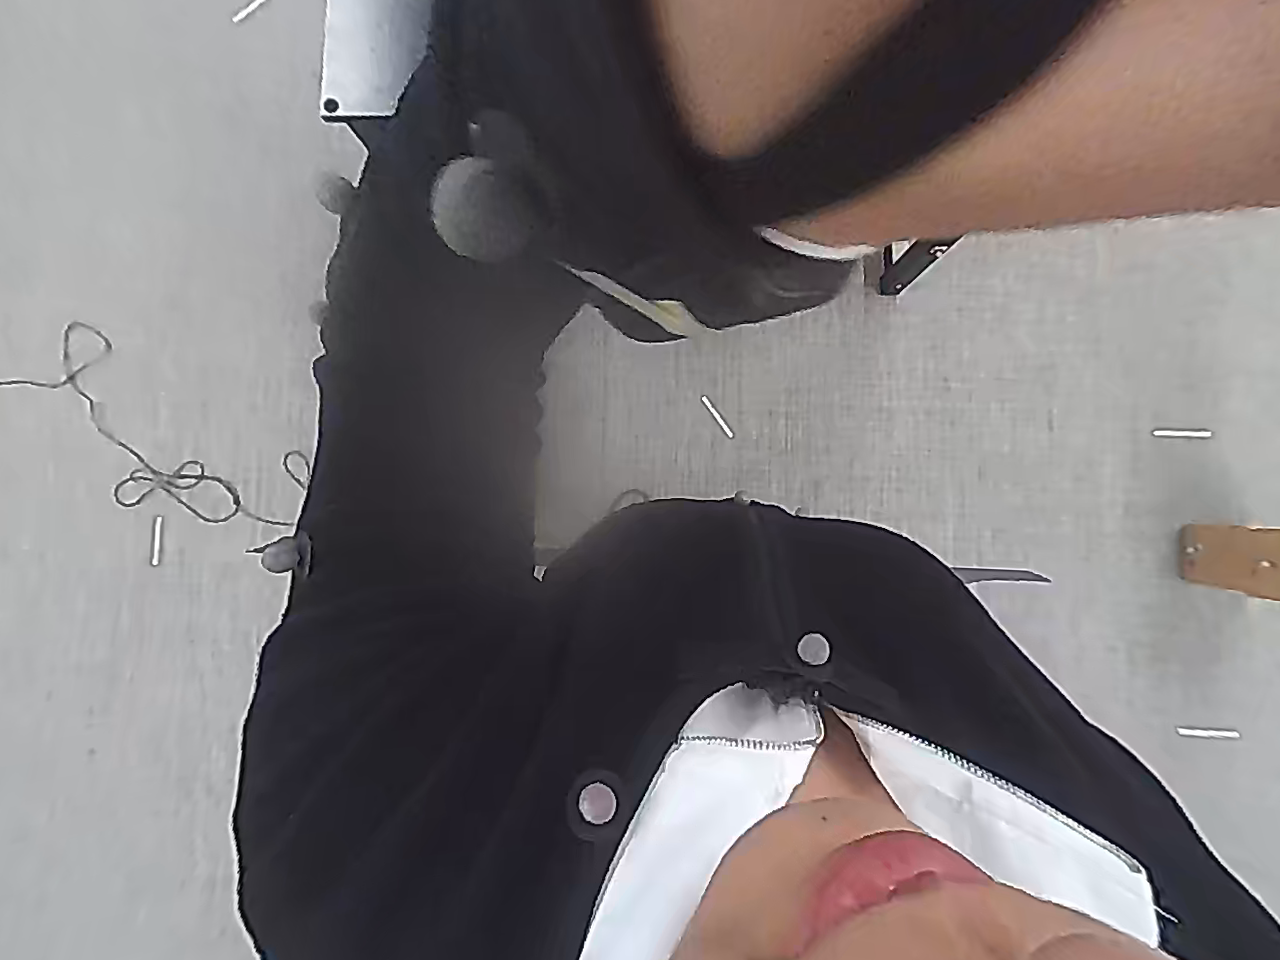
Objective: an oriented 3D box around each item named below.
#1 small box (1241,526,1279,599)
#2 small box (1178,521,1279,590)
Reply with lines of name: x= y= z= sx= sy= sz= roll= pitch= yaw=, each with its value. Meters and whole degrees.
small box: x=1.533 y=0.190 z=1.218 sx=0.179 sy=0.176 sz=0.168 roll=2 pitch=86 yaw=2
small box: x=1.547 y=0.192 z=1.383 sx=0.179 sy=0.176 sz=0.168 roll=1 pitch=86 yaw=3
